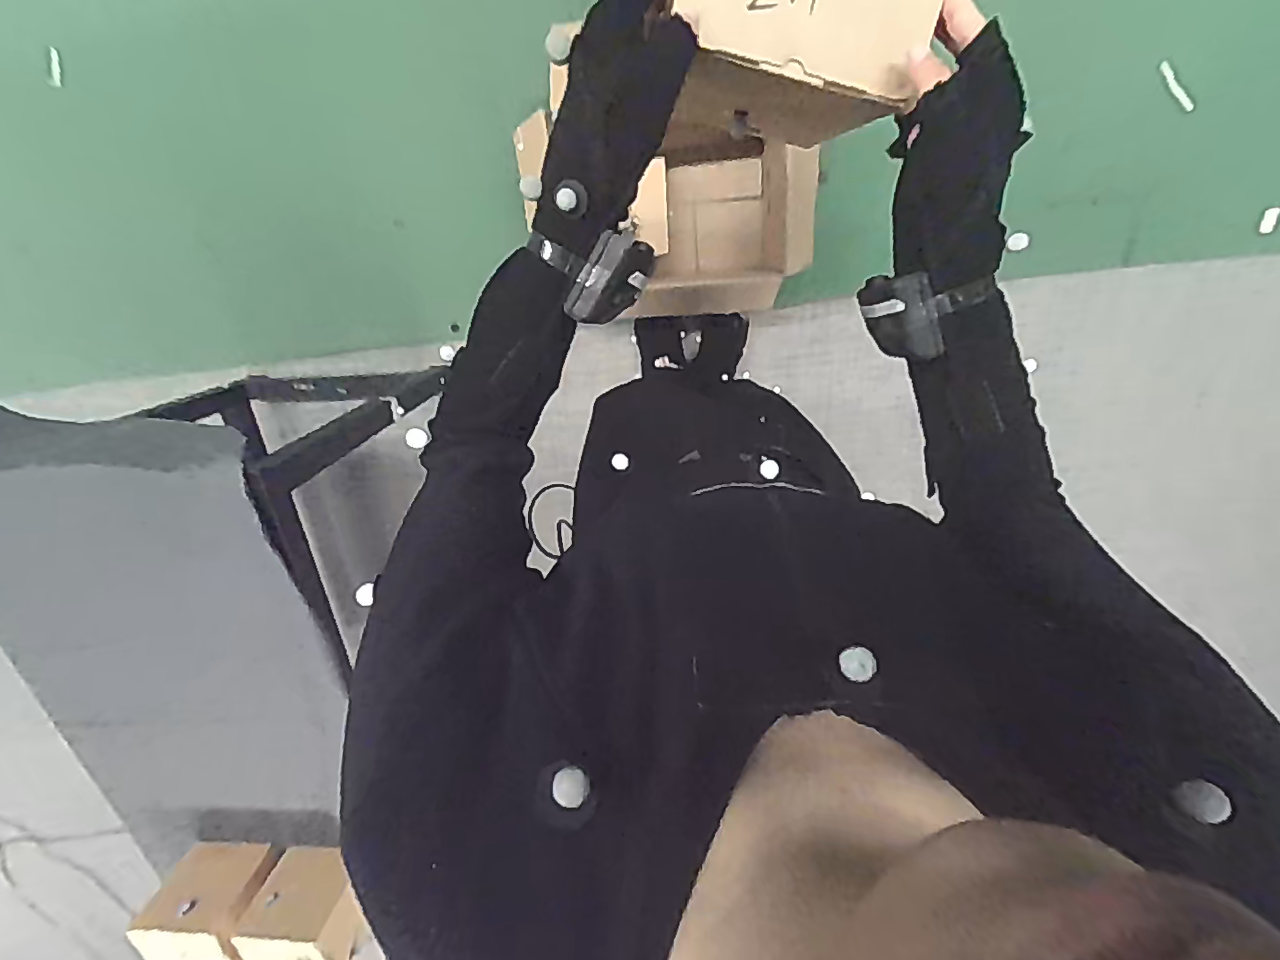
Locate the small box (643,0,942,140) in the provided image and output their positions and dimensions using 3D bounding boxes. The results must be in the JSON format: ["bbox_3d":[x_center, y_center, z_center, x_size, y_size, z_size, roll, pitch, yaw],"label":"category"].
[{"bbox_3d":[0.101,-0.364,0.375,0.168,0.176,0.179,7,113,-9],"label":"small box"}]

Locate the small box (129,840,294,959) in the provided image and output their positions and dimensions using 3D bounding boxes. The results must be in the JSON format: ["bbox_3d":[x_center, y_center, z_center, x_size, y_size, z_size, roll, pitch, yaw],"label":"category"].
[{"bbox_3d":[-0.858,0.868,1.102,0.179,0.176,0.168,-1,114,4],"label":"small box"}]
